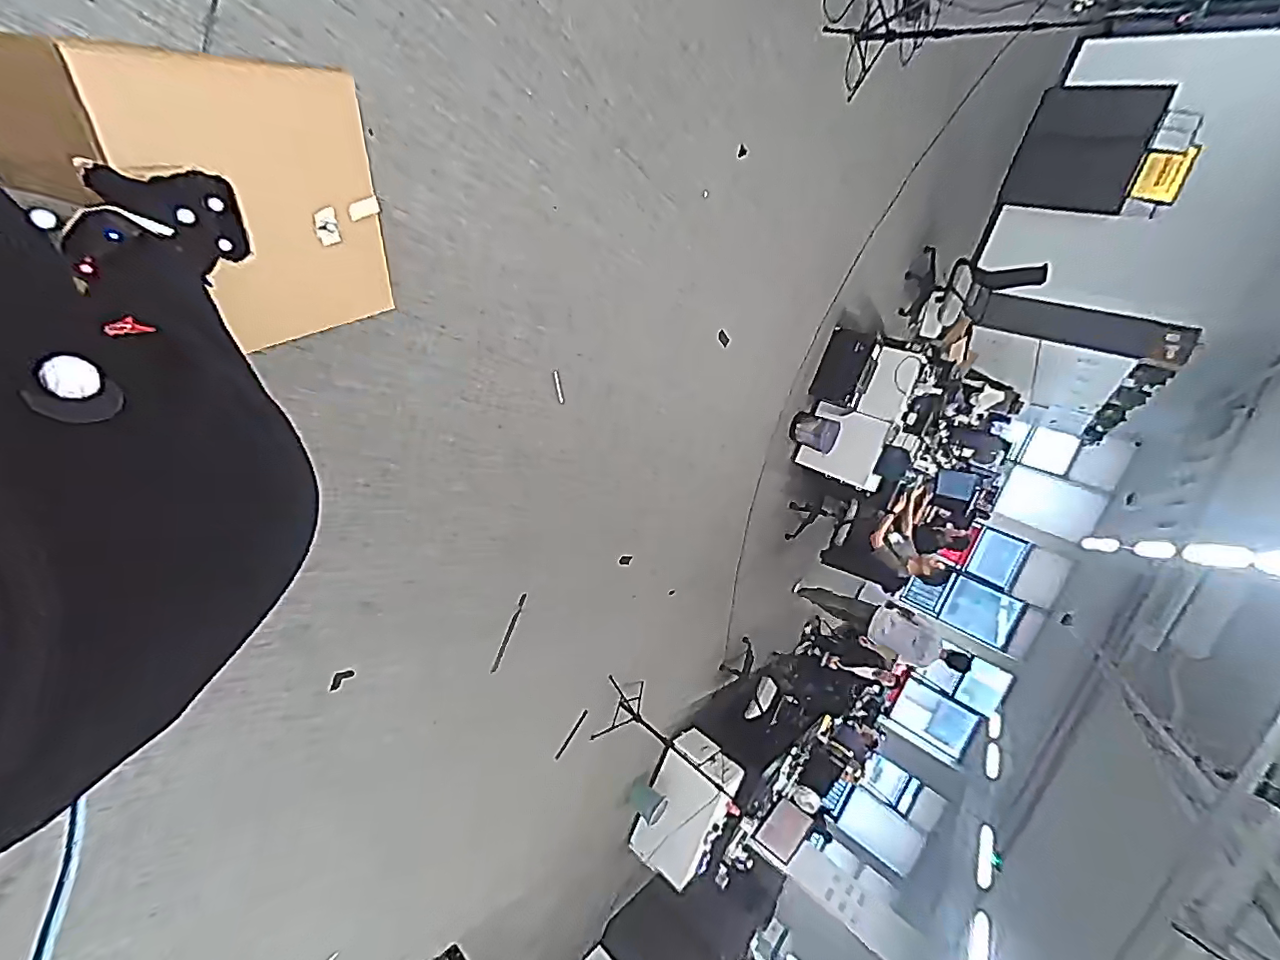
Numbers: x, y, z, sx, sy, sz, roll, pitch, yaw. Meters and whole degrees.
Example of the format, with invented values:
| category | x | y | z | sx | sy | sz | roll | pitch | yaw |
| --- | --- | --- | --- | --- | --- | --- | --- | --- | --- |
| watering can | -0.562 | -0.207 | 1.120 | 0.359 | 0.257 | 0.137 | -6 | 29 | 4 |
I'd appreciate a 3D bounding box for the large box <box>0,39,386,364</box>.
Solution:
| category | x | y | z | sx | sy | sz | roll | pitch | yaw |
| --- | --- | --- | --- | --- | --- | --- | --- | --- | --- |
| large box | -0.640 | -0.394 | 0.747 | 0.320 | 0.408 | 0.320 | -45 | 148 | -49 |
